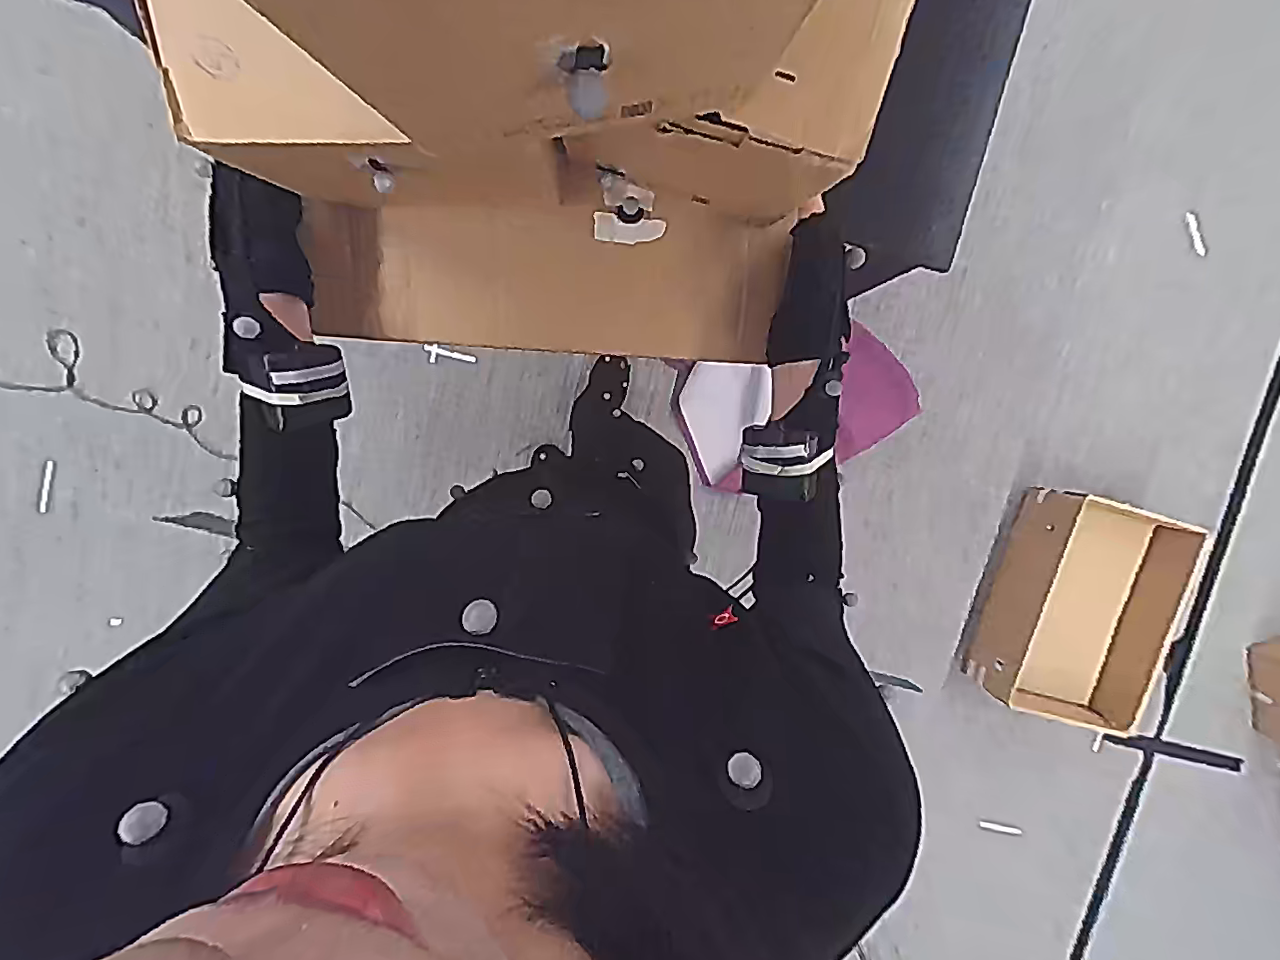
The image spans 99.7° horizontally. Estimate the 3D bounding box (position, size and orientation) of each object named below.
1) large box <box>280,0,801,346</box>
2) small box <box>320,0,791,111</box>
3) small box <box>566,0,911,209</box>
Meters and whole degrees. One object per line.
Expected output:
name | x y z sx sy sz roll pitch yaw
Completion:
large box | -0.076 -0.310 0.562 0.408 0.320 0.320 2 106 -5
small box | -0.029 -0.238 0.162 0.168 0.176 0.179 -9 107 0
small box | 0.054 -0.287 0.322 0.168 0.176 0.179 14 103 -7
